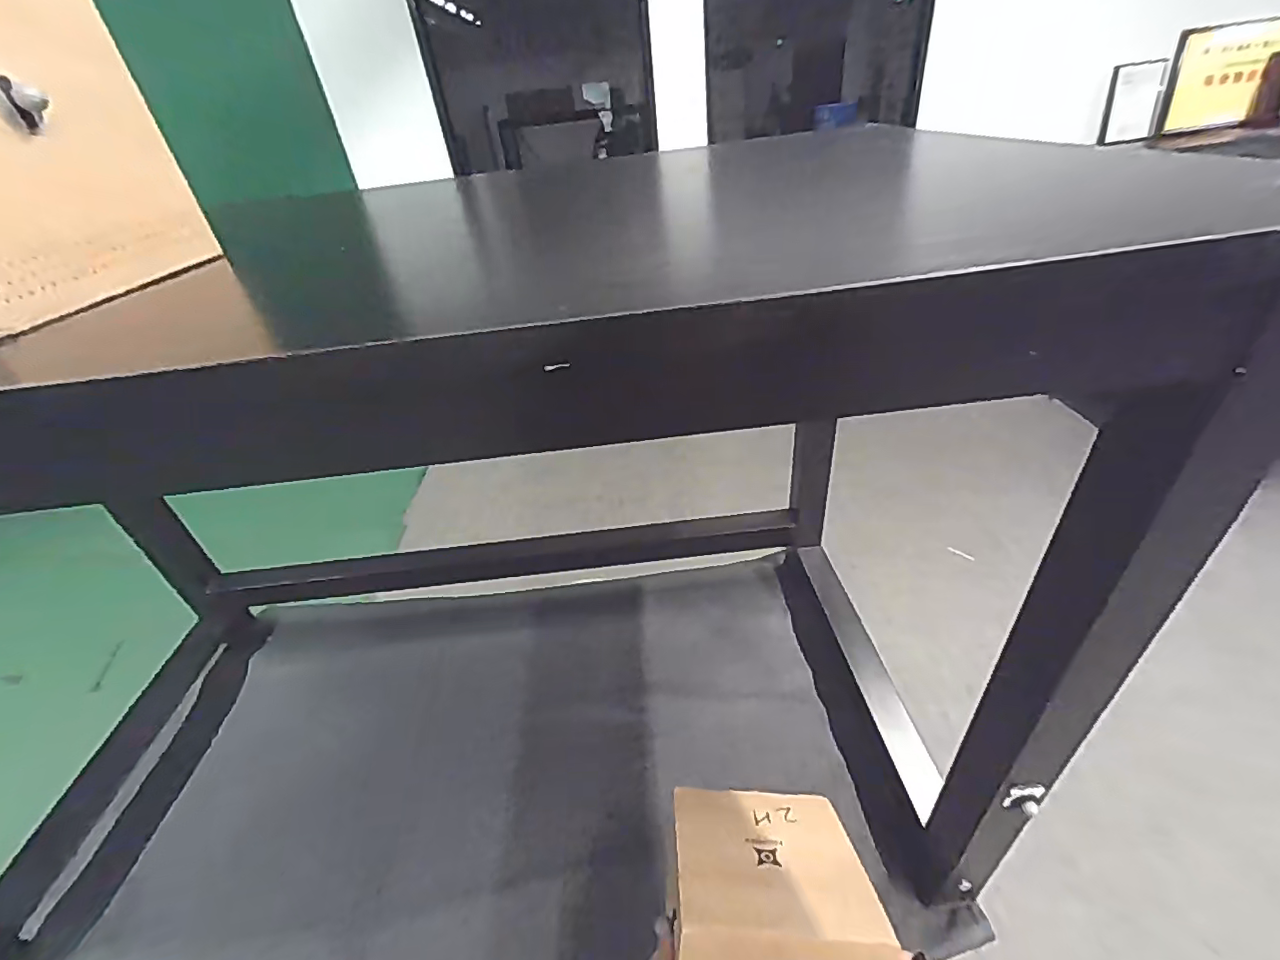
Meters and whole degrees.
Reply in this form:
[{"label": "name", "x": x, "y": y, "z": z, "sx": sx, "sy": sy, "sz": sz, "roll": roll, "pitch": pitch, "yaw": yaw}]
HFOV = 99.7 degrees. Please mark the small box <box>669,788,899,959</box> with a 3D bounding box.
[{"label": "small box", "x": 0.113, "y": 0.418, "z": 0.492, "sx": 0.168, "sy": 0.176, "sz": 0.179, "roll": 3, "pitch": 4, "yaw": 1}]
